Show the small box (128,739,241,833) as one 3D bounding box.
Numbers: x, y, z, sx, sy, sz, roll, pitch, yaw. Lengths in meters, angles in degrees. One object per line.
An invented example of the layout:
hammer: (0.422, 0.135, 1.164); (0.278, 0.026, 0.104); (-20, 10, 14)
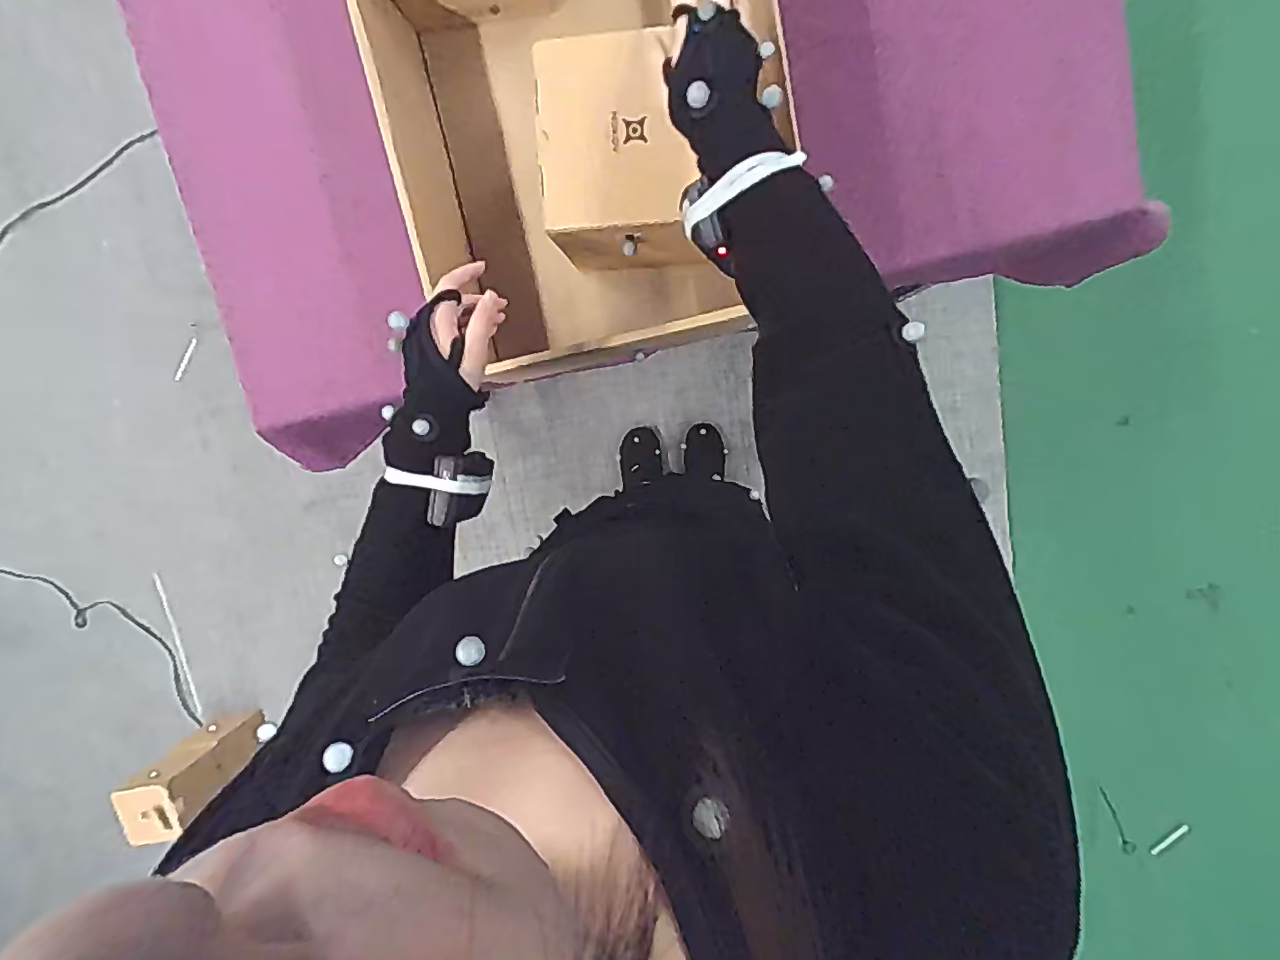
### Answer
small box: (-1.301, 0.878, 1.564); (0.179, 0.176, 0.168); (-12, 97, 10)

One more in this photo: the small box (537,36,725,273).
small box: (0.002, -0.330, 0.585); (0.179, 0.176, 0.168); (-1, 98, 9)
